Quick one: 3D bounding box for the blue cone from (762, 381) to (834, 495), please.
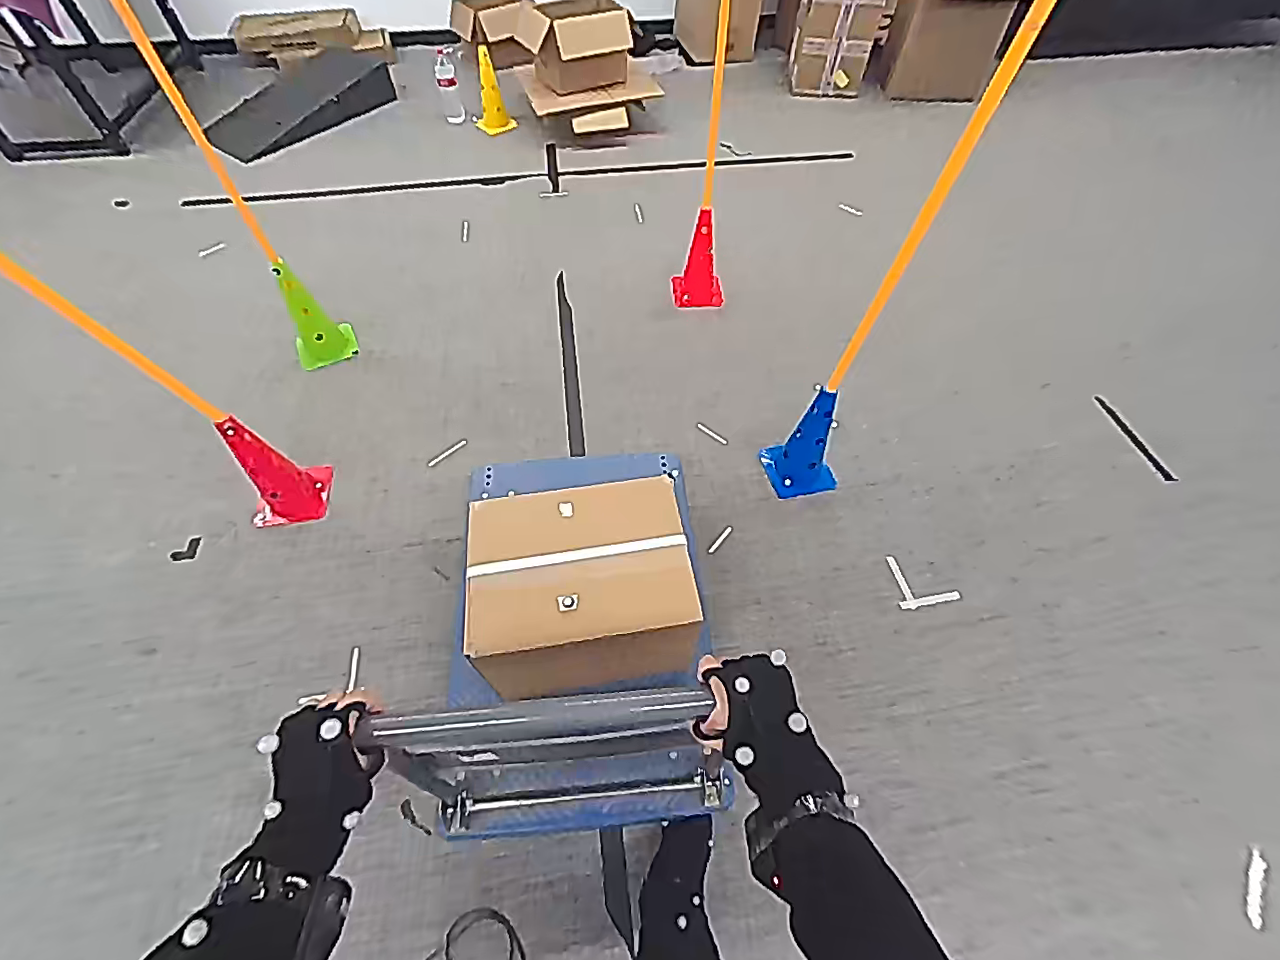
[{"bbox_3d":[0.501,-0.134,1.585,0.193,0.380,0.192,-10,55,-8],"label":"blue cone"}]

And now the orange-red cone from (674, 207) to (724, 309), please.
[{"bbox_3d":[0.242,-0.862,2.068,0.199,0.360,0.198,-1,56,-2],"label":"orange-red cone"}]
